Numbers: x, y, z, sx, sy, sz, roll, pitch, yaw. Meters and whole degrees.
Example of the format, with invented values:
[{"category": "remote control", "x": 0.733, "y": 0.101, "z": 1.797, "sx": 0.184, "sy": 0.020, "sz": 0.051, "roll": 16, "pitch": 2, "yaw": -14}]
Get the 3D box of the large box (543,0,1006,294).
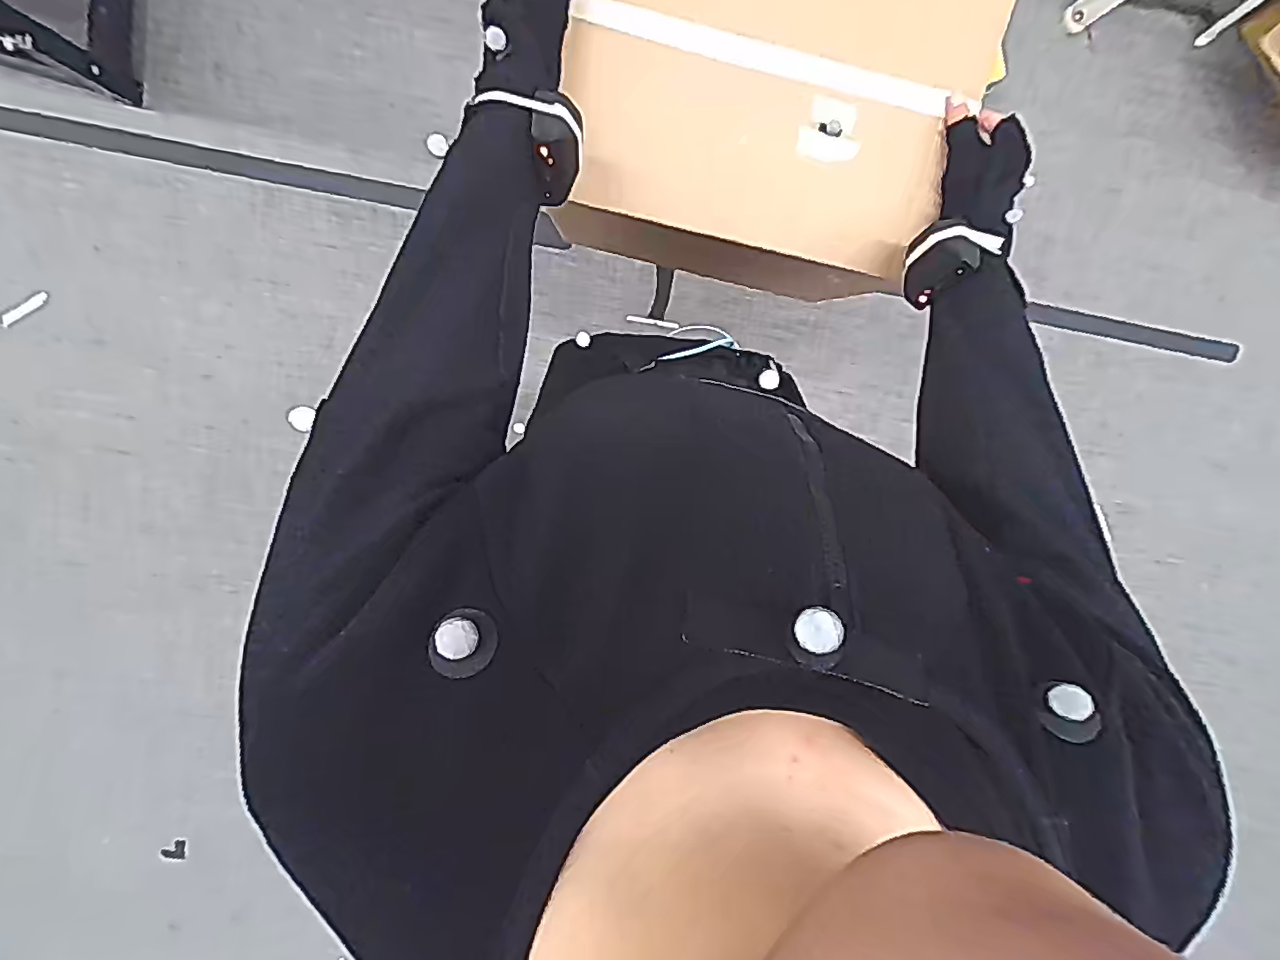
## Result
[{"category": "large box", "x": 0.119, "y": -0.433, "z": 0.653, "sx": 0.408, "sy": 0.320, "sz": 0.320, "roll": 12, "pitch": 106, "yaw": -6}]
